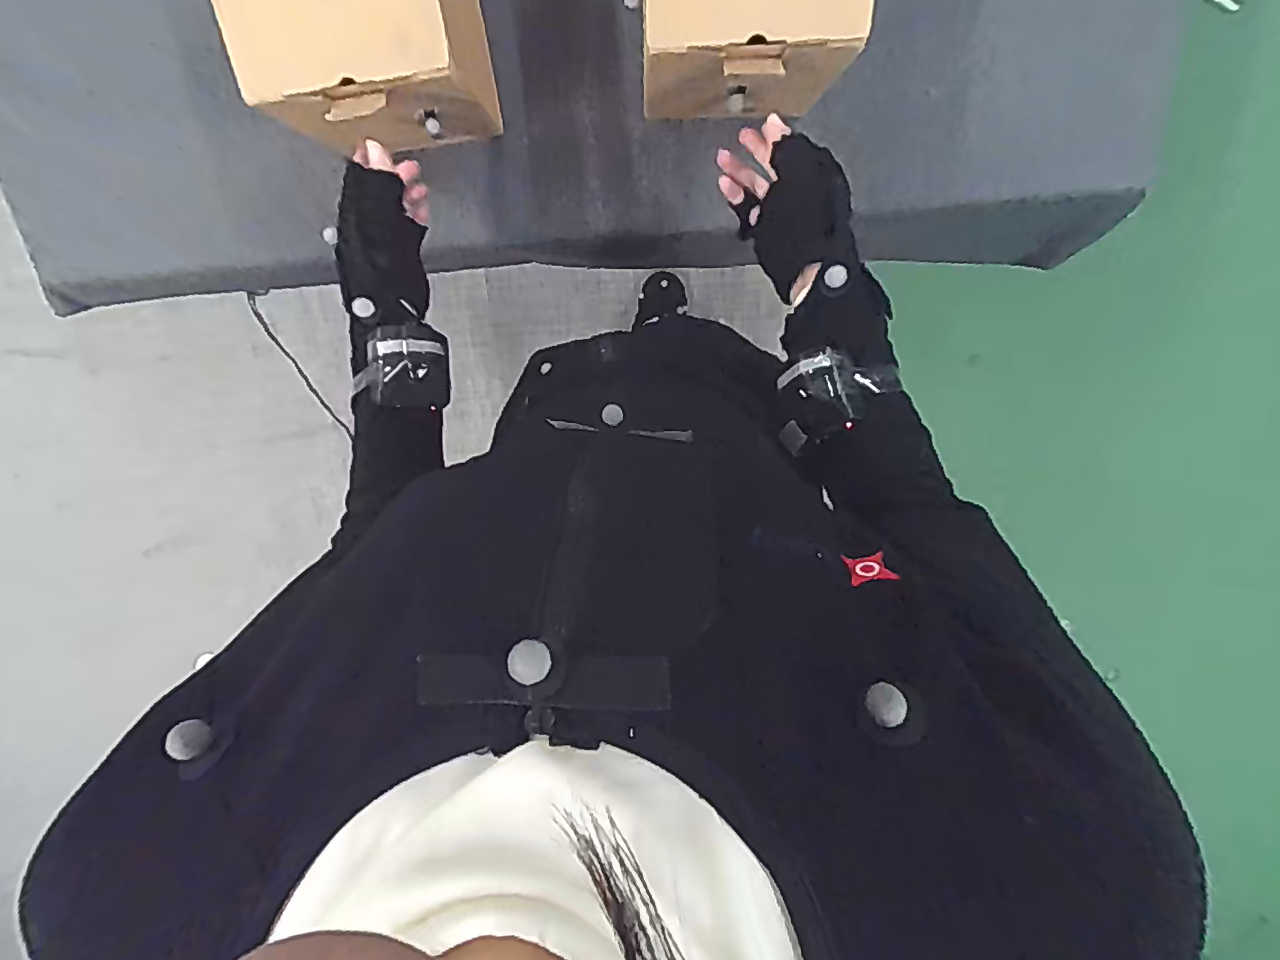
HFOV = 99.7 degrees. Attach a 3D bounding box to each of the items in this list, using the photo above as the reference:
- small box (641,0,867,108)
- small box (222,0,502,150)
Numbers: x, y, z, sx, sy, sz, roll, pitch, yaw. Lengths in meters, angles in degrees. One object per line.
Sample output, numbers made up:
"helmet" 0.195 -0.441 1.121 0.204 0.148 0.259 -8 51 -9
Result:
"small box" 0.085 -0.432 0.452 0.168 0.176 0.179 -1 110 0
"small box" -0.230 -0.407 0.465 0.168 0.176 0.179 -8 107 2
